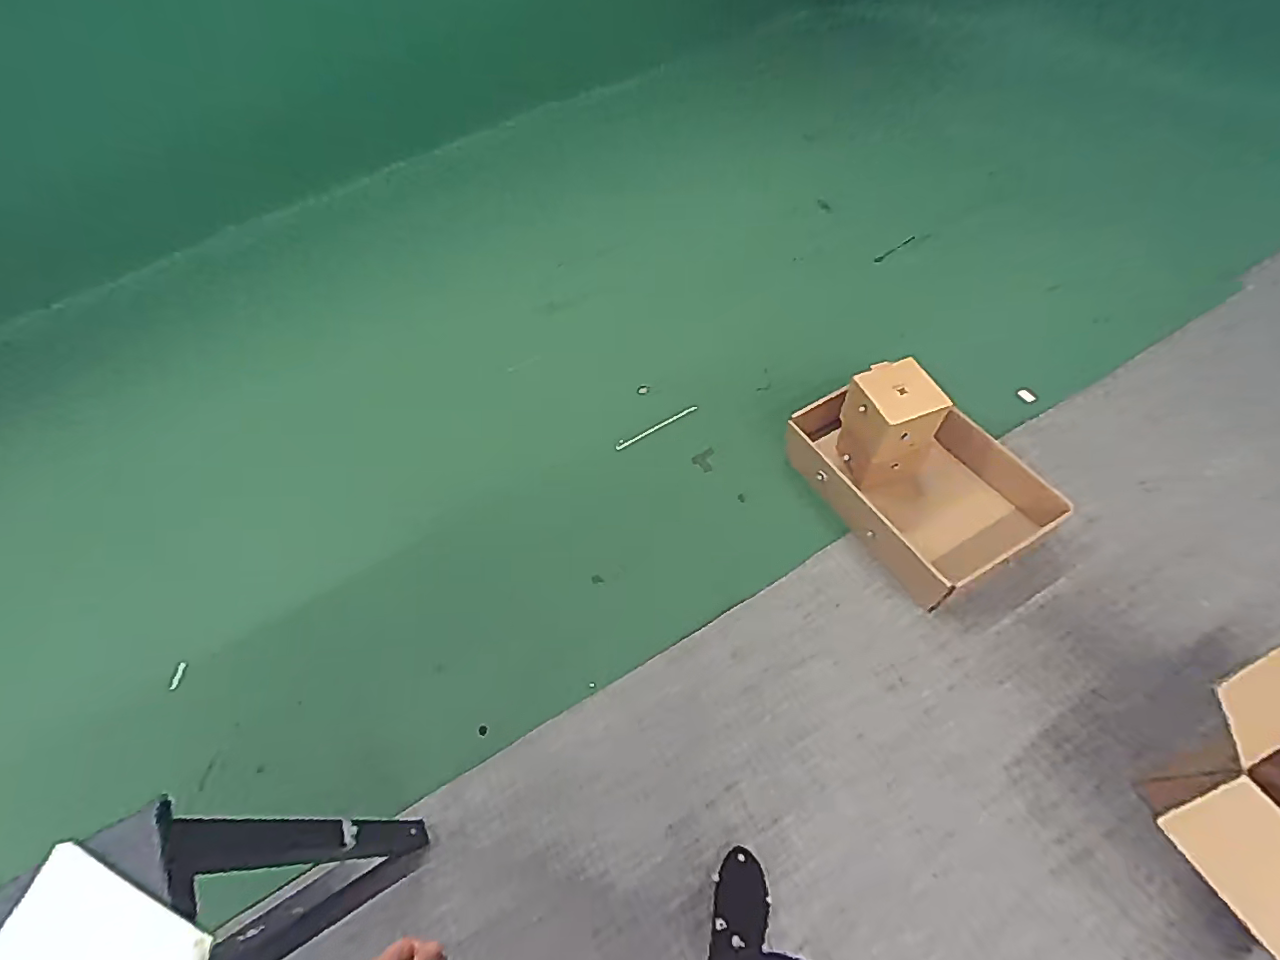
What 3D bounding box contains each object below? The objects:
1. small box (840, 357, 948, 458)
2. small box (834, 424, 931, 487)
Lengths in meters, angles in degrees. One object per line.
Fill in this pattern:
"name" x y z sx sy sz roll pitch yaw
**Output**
"small box" 0.643 -0.178 1.393 0.168 0.176 0.179 -19 57 -5
"small box" 0.678 -0.103 1.535 0.179 0.176 0.168 -15 57 -2
